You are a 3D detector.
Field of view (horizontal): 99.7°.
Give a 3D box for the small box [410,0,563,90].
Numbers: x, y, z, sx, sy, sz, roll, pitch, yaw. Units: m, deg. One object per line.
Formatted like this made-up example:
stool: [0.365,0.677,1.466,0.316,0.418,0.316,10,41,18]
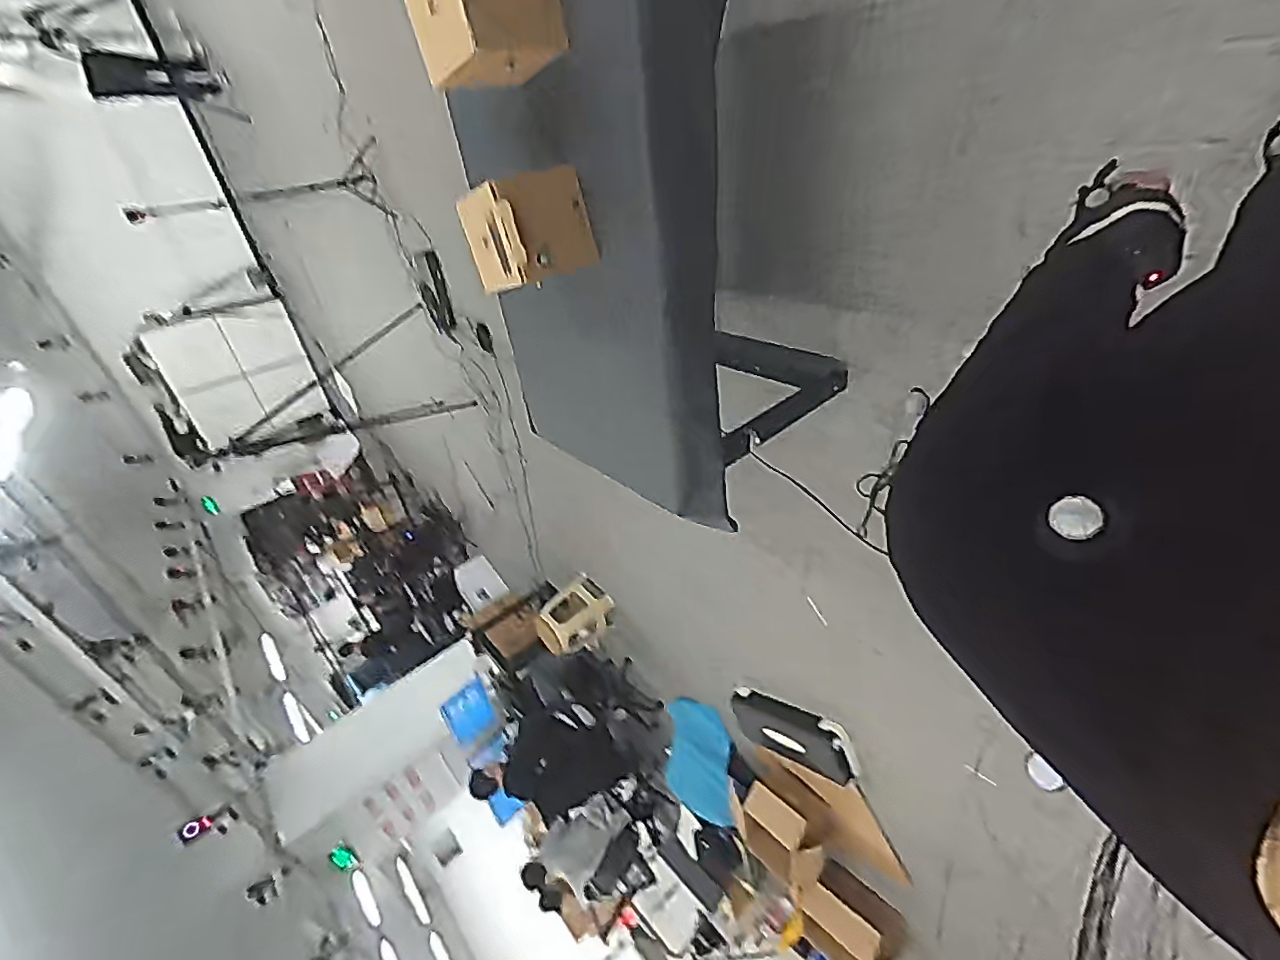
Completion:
small box: [-0.234,-0.729,0.831,0.179,0.176,0.168,19,130,50]
